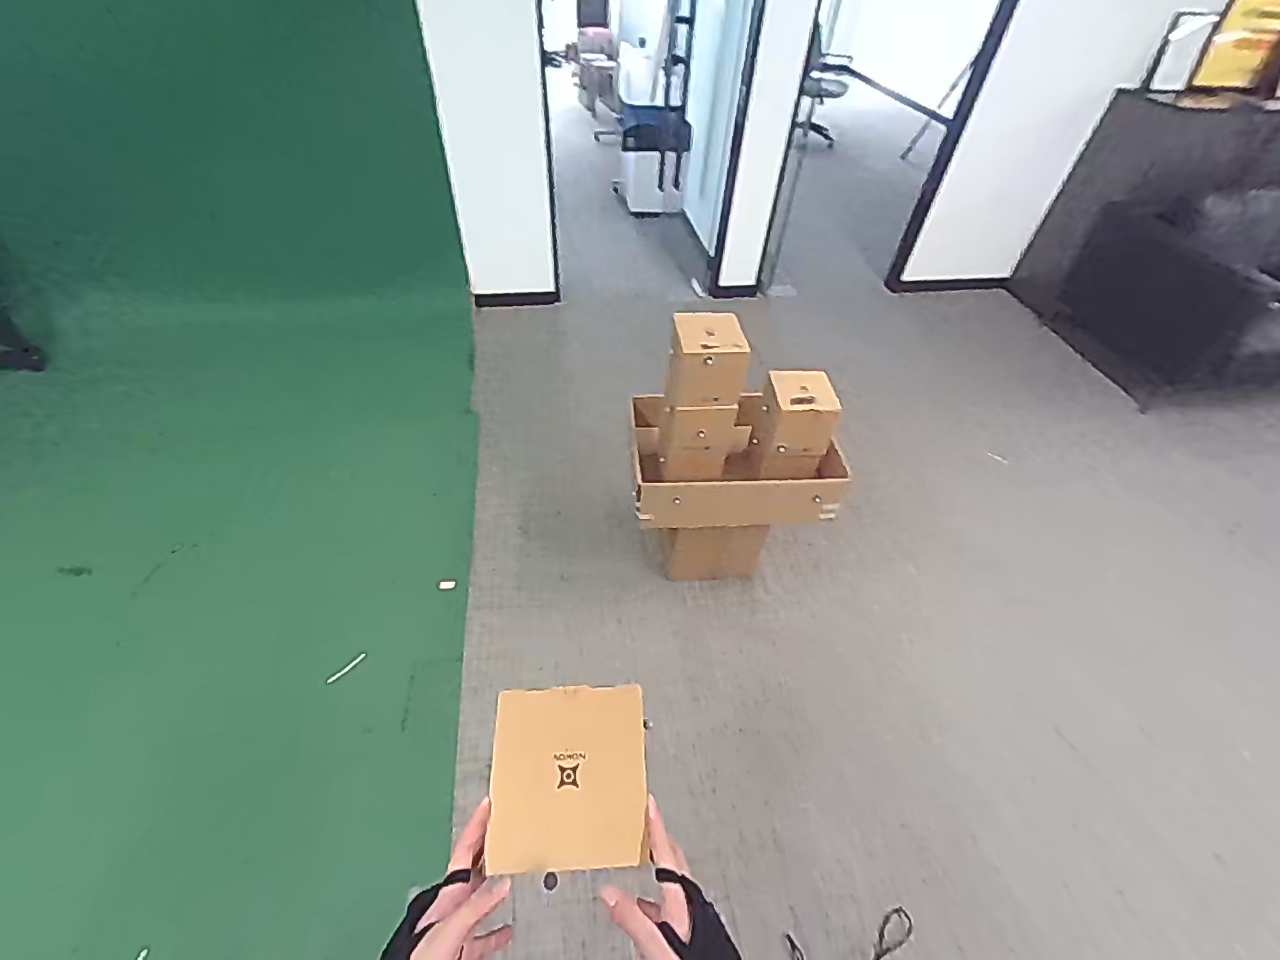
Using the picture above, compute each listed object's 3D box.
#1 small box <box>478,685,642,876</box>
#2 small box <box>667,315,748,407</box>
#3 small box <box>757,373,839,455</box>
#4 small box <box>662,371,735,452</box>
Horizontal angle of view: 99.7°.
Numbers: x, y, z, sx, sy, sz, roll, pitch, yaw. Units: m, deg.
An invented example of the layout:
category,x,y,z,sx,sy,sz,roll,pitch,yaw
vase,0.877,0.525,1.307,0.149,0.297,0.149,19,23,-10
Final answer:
category,x,y,z,sx,sy,sz,roll,pitch,yaw
small box,-0.082,0.357,0.642,0.168,0.176,0.179,-1,54,-3
small box,0.166,-0.307,1.395,0.168,0.176,0.179,-3,48,-7
small box,0.438,-0.185,1.530,0.168,0.176,0.179,0,46,-3
small box,0.156,-0.189,1.510,0.168,0.176,0.179,-2,49,-7
